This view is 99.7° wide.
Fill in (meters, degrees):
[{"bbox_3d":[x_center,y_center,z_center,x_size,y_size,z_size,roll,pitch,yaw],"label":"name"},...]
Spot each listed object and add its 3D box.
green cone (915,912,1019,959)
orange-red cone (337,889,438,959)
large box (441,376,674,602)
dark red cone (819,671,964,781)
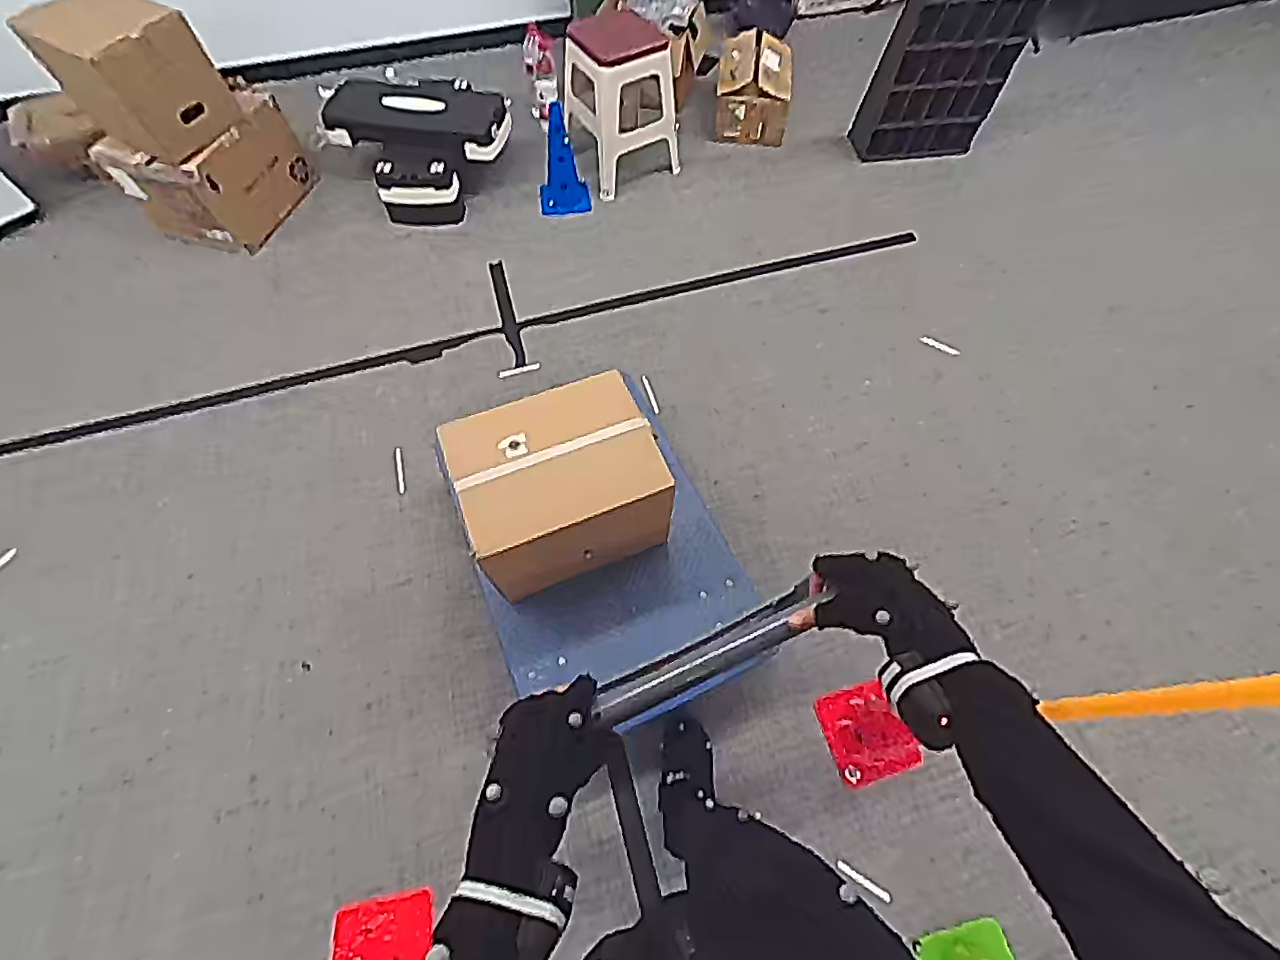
[{"bbox_3d":[0.671,0.915,0.915,0.202,0.368,0.200,-11,63,-7],"label":"green cone"},{"bbox_3d":[-0.507,0.876,0.941,0.198,0.360,0.199,-8,61,-5],"label":"orange-red cone"},{"bbox_3d":[-0.172,0.030,1.226,0.408,0.320,0.320,-21,65,-10],"label":"large box"},{"bbox_3d":[0.546,0.494,1.120,0.201,0.394,0.202,-15,63,-10],"label":"dark red cone"}]
